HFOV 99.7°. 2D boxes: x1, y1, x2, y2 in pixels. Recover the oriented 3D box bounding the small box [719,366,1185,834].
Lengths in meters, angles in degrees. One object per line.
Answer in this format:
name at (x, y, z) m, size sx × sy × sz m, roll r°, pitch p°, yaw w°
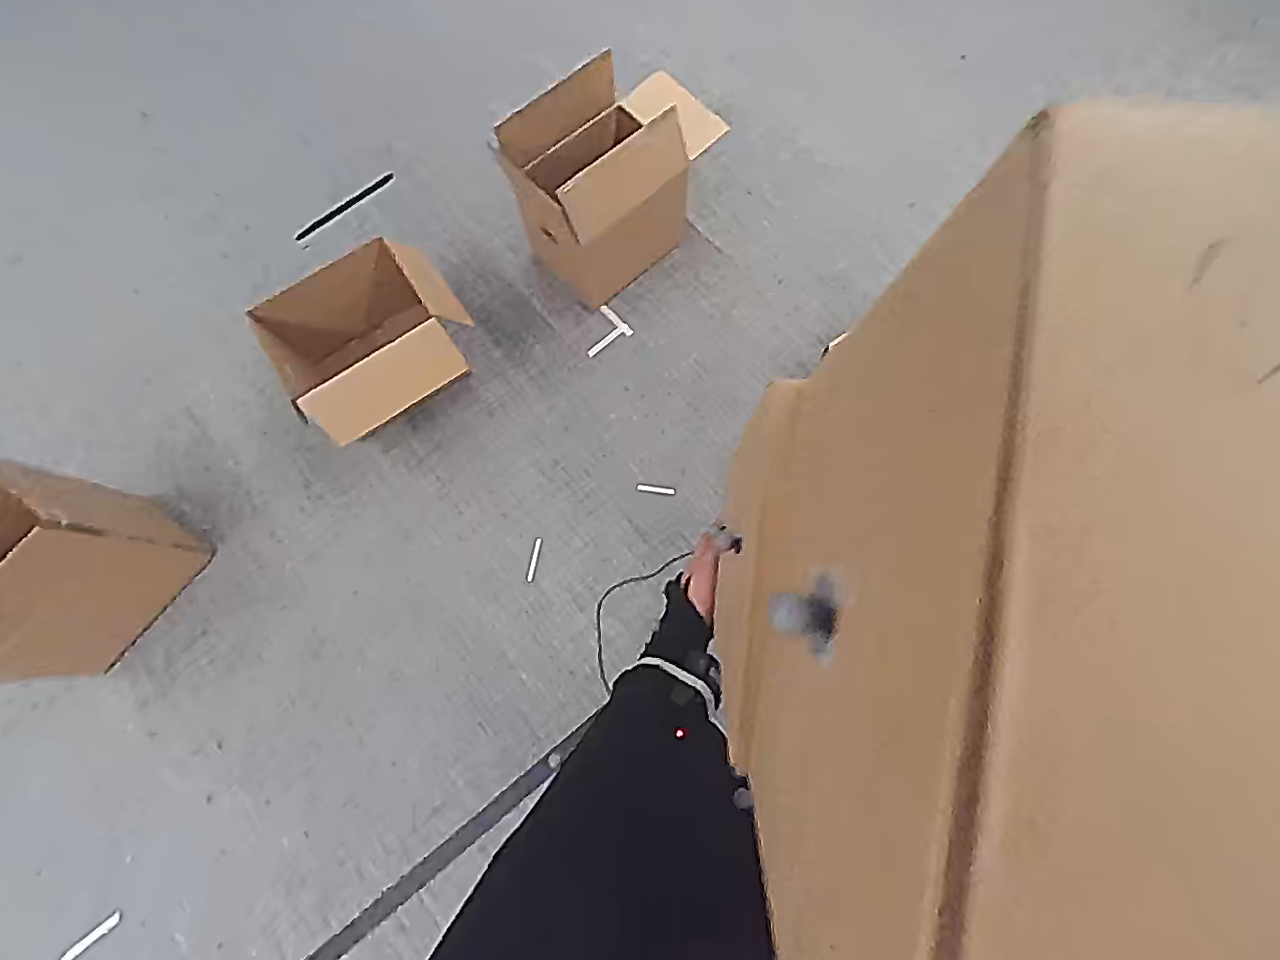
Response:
small box at (0.134, 0.047, 0.300) m, size 0.168 × 0.176 × 0.179 m, roll 5°, pitch 88°, yaw 6°
